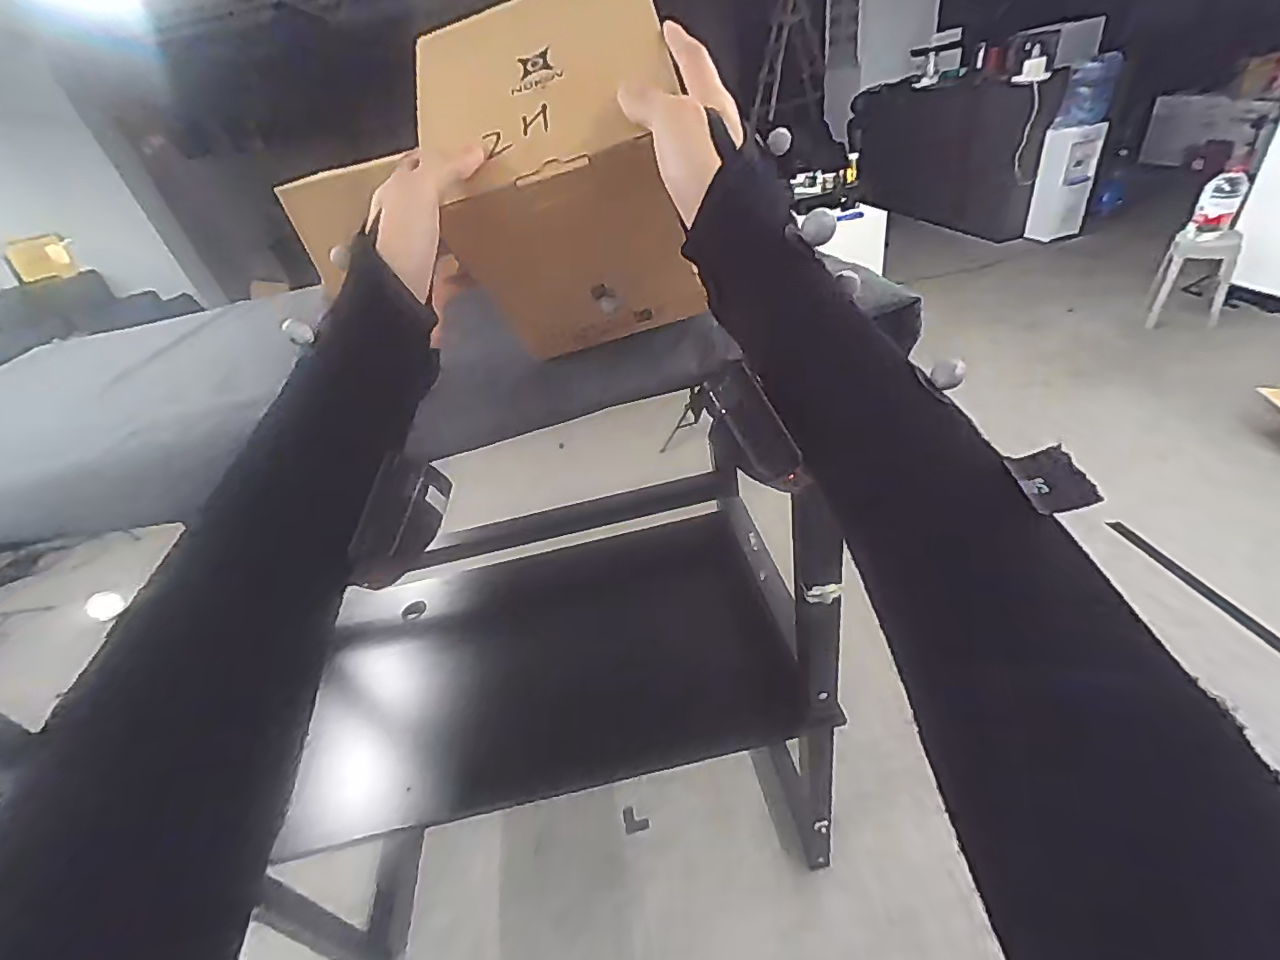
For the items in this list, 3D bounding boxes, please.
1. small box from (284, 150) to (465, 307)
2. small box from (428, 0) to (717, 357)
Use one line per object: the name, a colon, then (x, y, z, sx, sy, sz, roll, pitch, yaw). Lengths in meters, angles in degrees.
small box: (-0.375, -0.376, 0.807, 0.168, 0.176, 0.179, -14, 36, 0)
small box: (-0.043, -0.227, 0.419, 0.168, 0.176, 0.179, -14, 68, 9)
